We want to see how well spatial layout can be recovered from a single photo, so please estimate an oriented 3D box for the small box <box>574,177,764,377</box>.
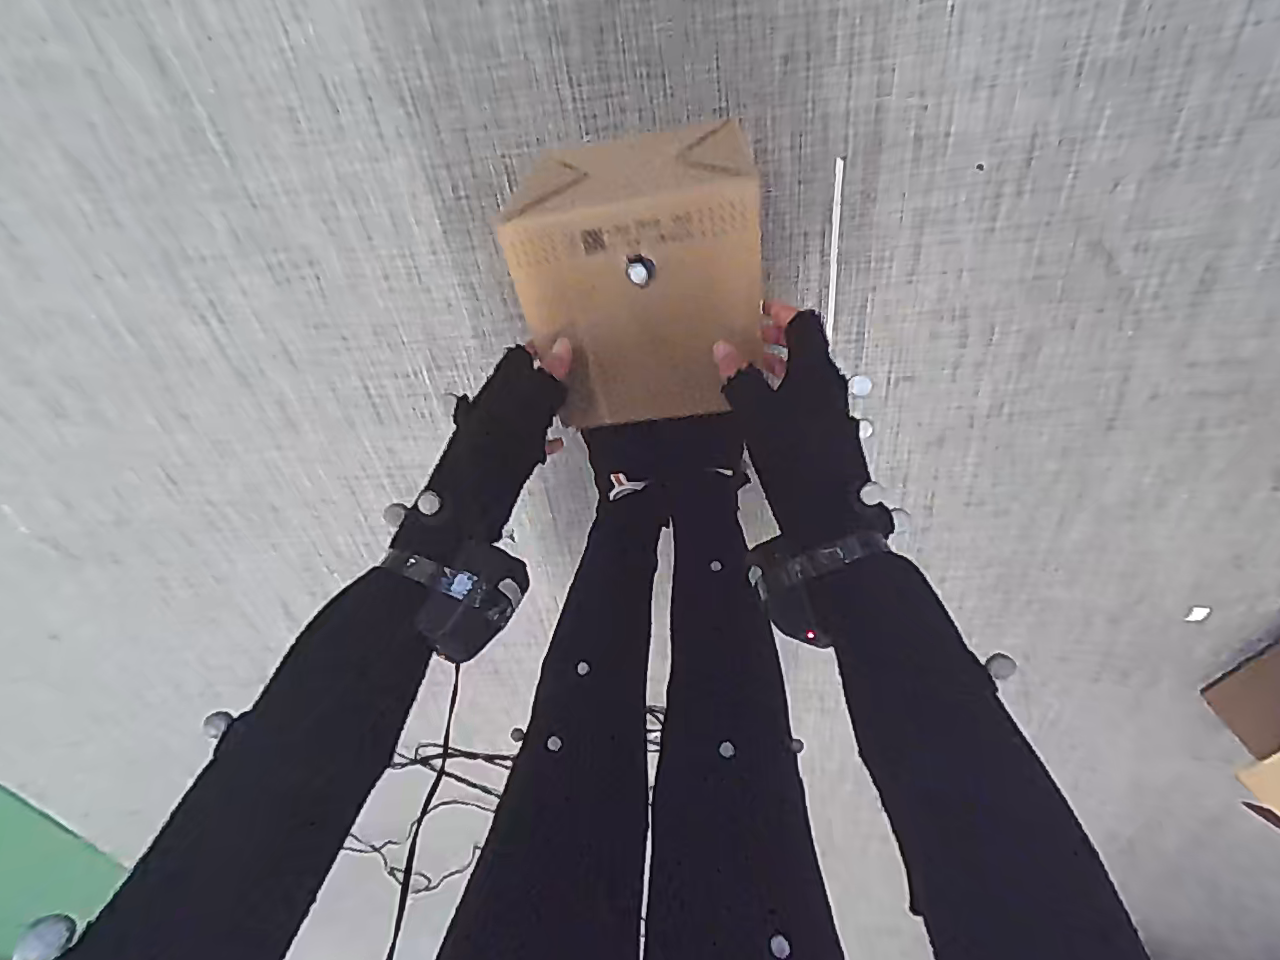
[{"bbox_3d":[0.040,-0.237,0.622,0.179,0.176,0.168,-7,121,11],"label":"small box"}]
